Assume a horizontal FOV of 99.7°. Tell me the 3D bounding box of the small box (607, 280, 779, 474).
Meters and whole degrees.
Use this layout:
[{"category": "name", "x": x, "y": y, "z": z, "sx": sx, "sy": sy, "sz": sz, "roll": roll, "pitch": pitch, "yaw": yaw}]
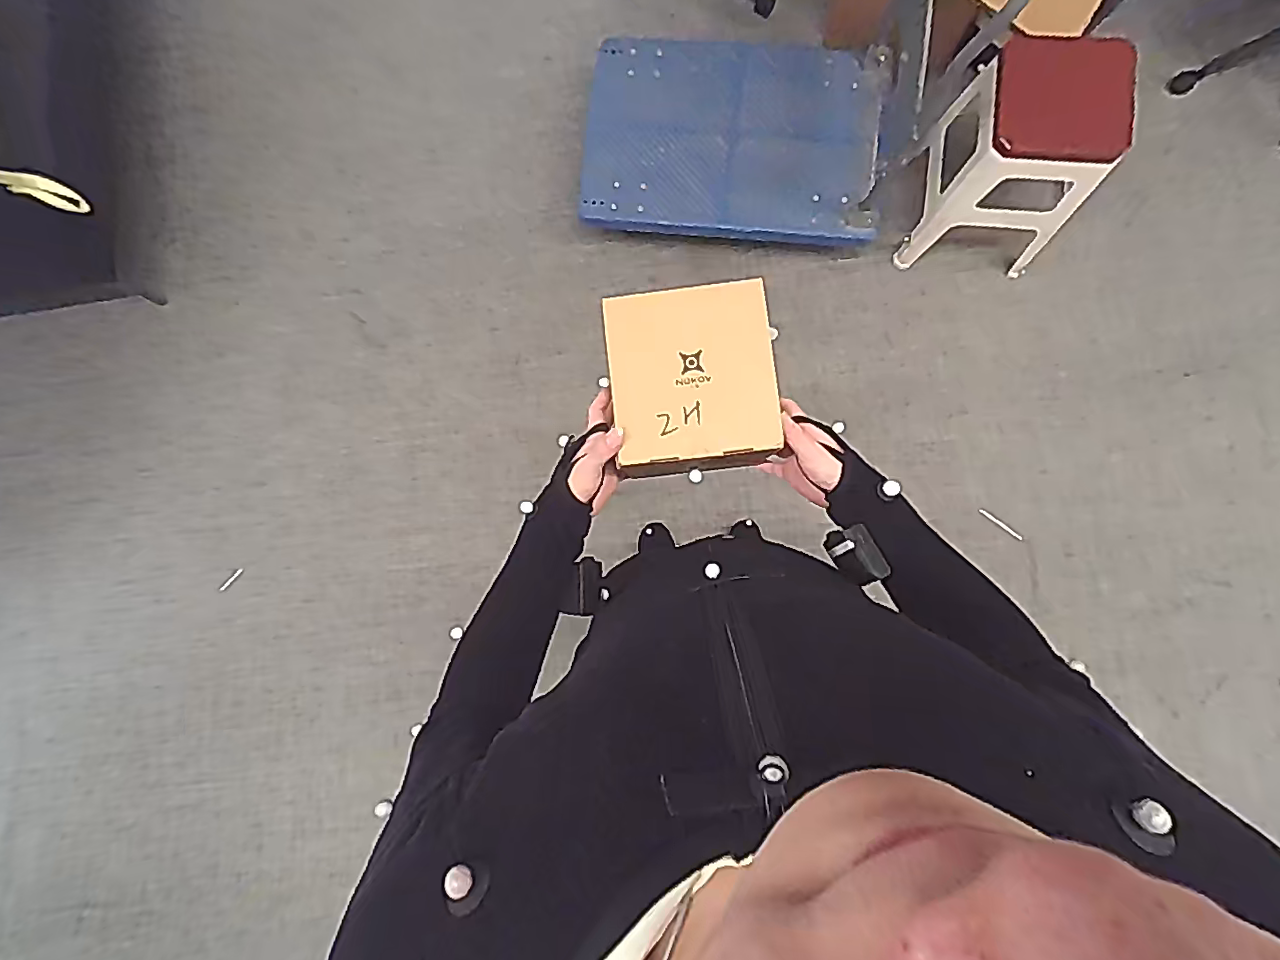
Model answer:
[{"category": "small box", "x": 0.055, "y": -0.107, "z": 0.629, "sx": 0.168, "sy": 0.176, "sz": 0.179, "roll": -6, "pitch": 86, "yaw": 3}]
